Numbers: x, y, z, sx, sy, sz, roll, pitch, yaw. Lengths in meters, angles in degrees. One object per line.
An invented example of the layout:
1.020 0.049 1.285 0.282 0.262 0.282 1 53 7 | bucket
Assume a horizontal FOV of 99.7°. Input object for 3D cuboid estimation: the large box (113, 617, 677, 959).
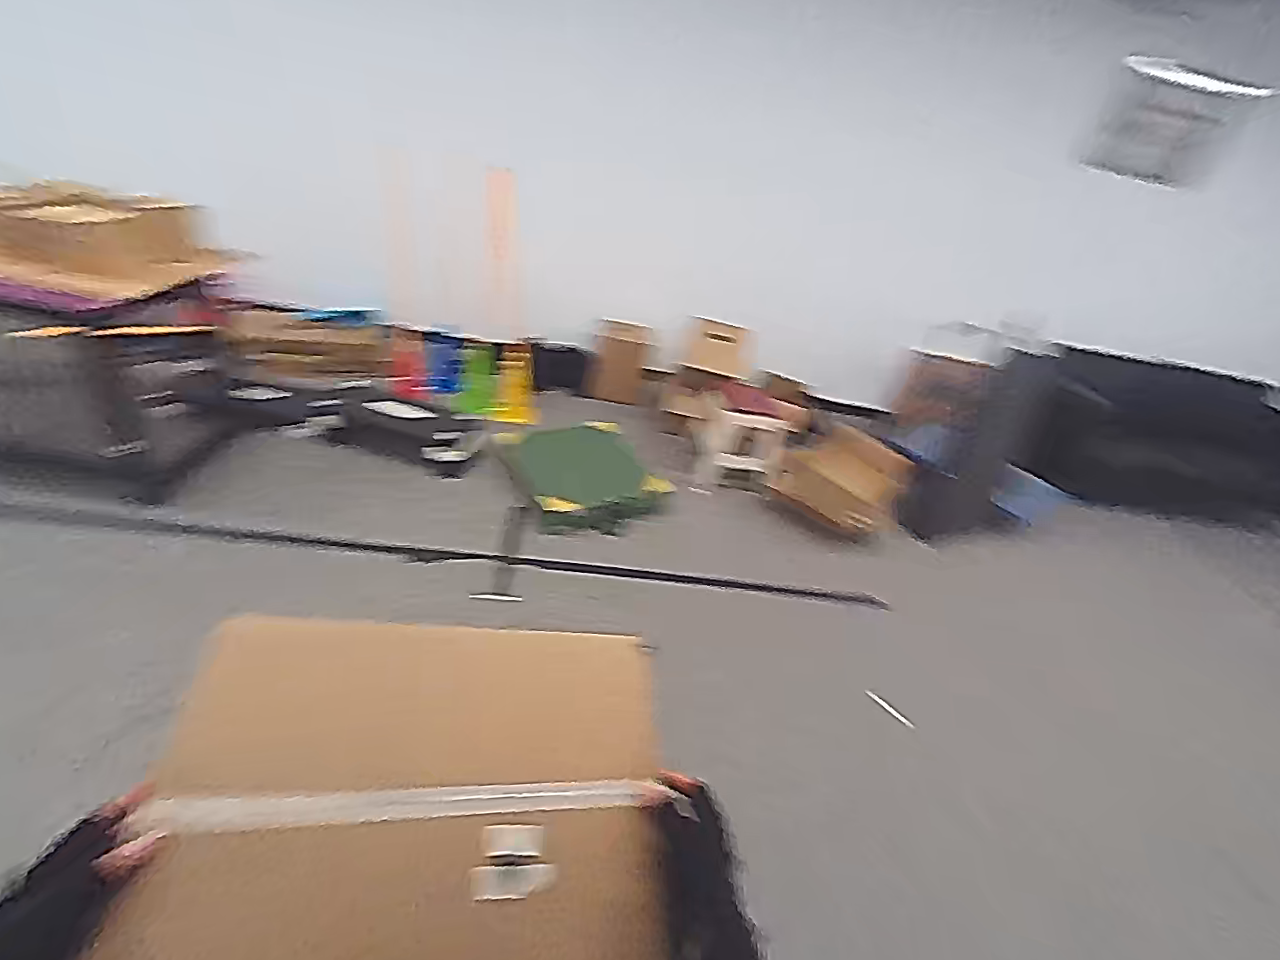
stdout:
-0.216 0.367 0.576 0.408 0.320 0.320 9 48 -17 | large box
